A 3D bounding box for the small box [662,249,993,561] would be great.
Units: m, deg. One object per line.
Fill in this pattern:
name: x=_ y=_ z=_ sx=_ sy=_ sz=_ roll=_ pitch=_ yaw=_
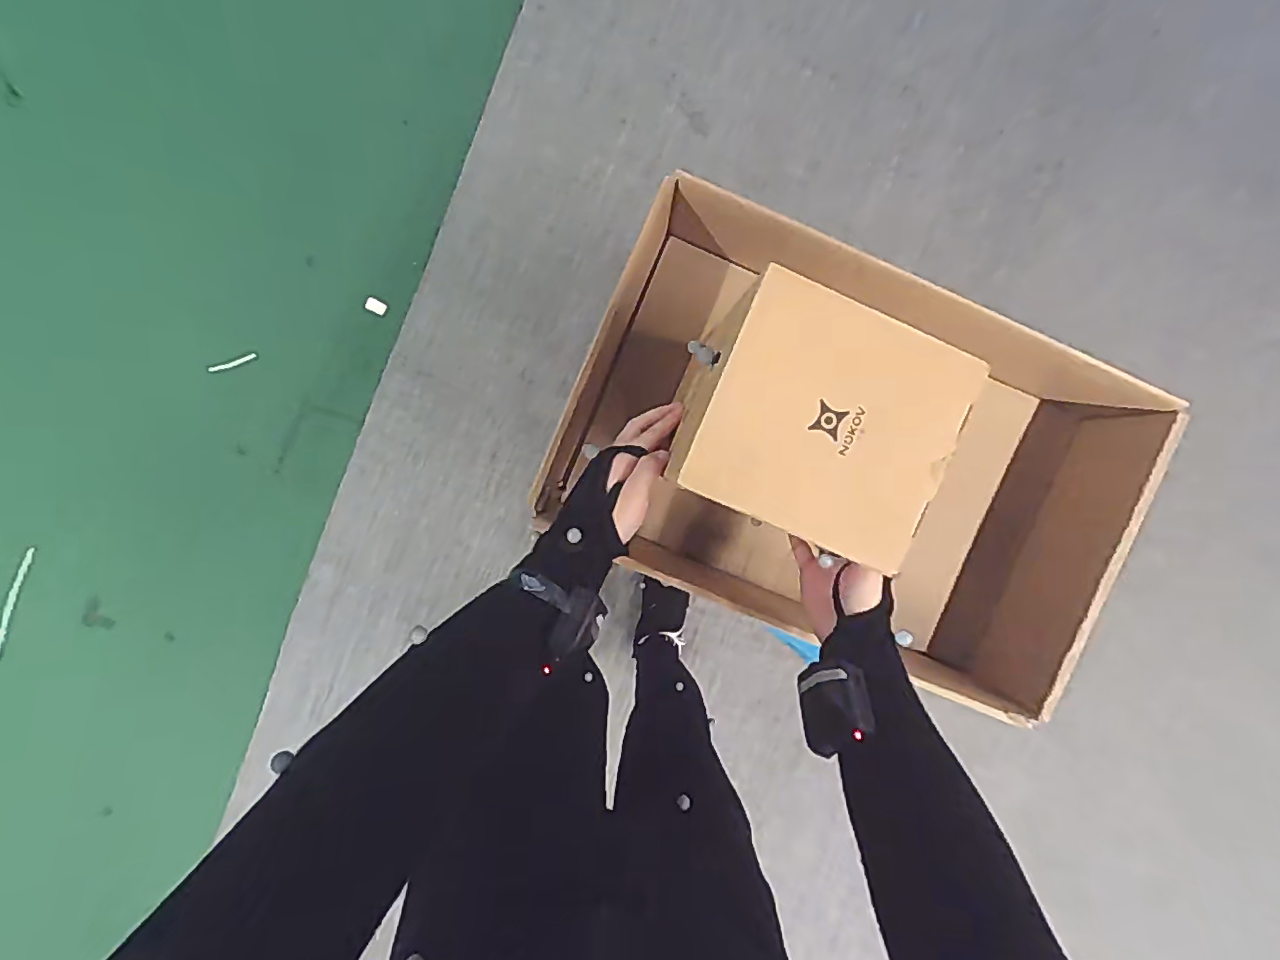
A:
small box: x=0.129 y=-0.052 z=0.448 sx=0.179 sy=0.176 sz=0.168 roll=22 pitch=92 yaw=-5
